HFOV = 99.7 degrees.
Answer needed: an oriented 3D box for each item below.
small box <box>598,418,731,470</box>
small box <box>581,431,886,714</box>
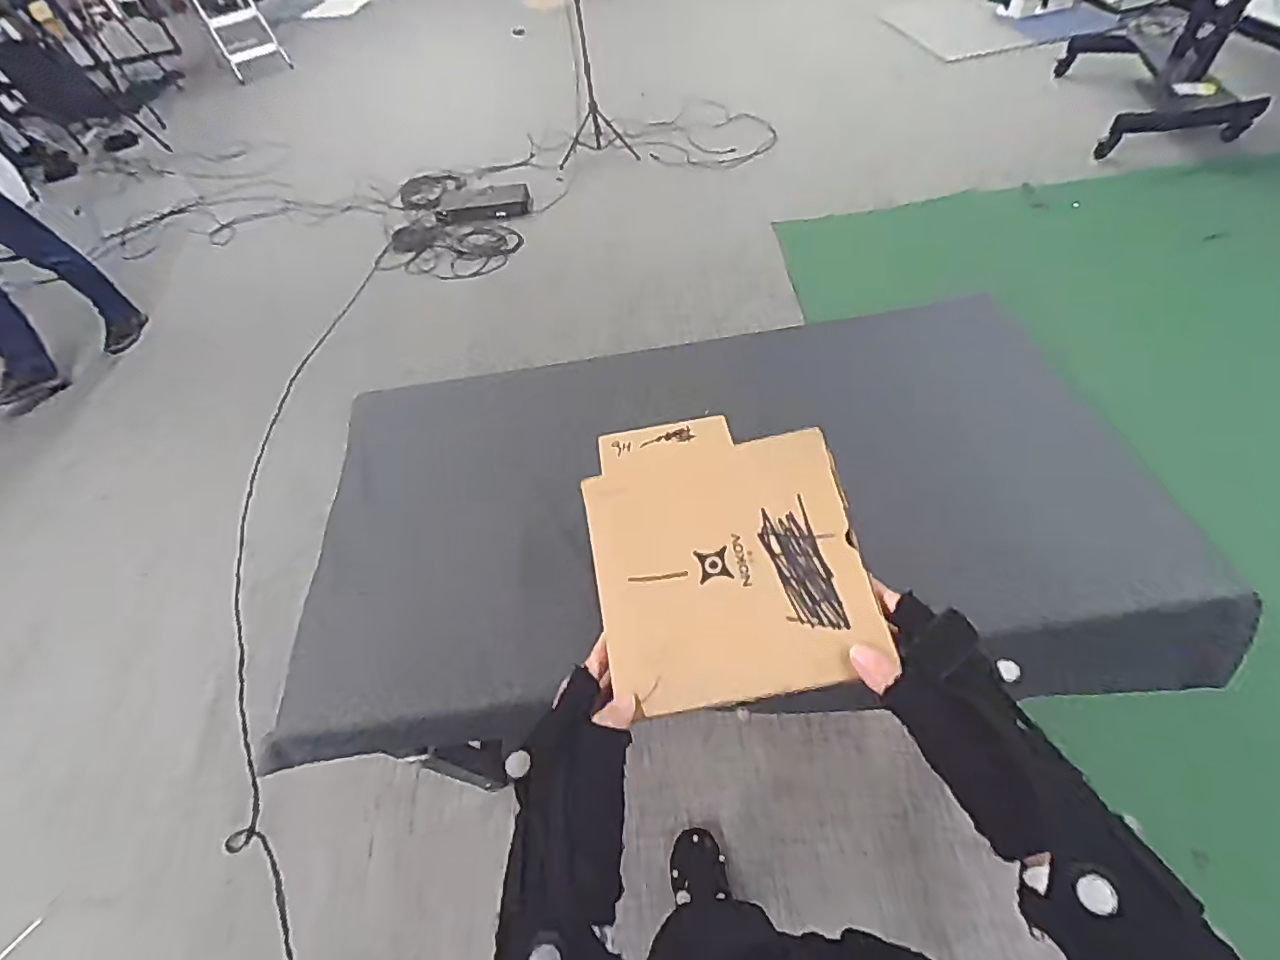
[{"bbox_3d":[0.045,0.049,0.705,0.168,0.176,0.179,-9,55,0],"label":"small box"},{"bbox_3d":[0.062,0.082,0.433,0.179,0.176,0.168,-12,68,3],"label":"small box"}]
